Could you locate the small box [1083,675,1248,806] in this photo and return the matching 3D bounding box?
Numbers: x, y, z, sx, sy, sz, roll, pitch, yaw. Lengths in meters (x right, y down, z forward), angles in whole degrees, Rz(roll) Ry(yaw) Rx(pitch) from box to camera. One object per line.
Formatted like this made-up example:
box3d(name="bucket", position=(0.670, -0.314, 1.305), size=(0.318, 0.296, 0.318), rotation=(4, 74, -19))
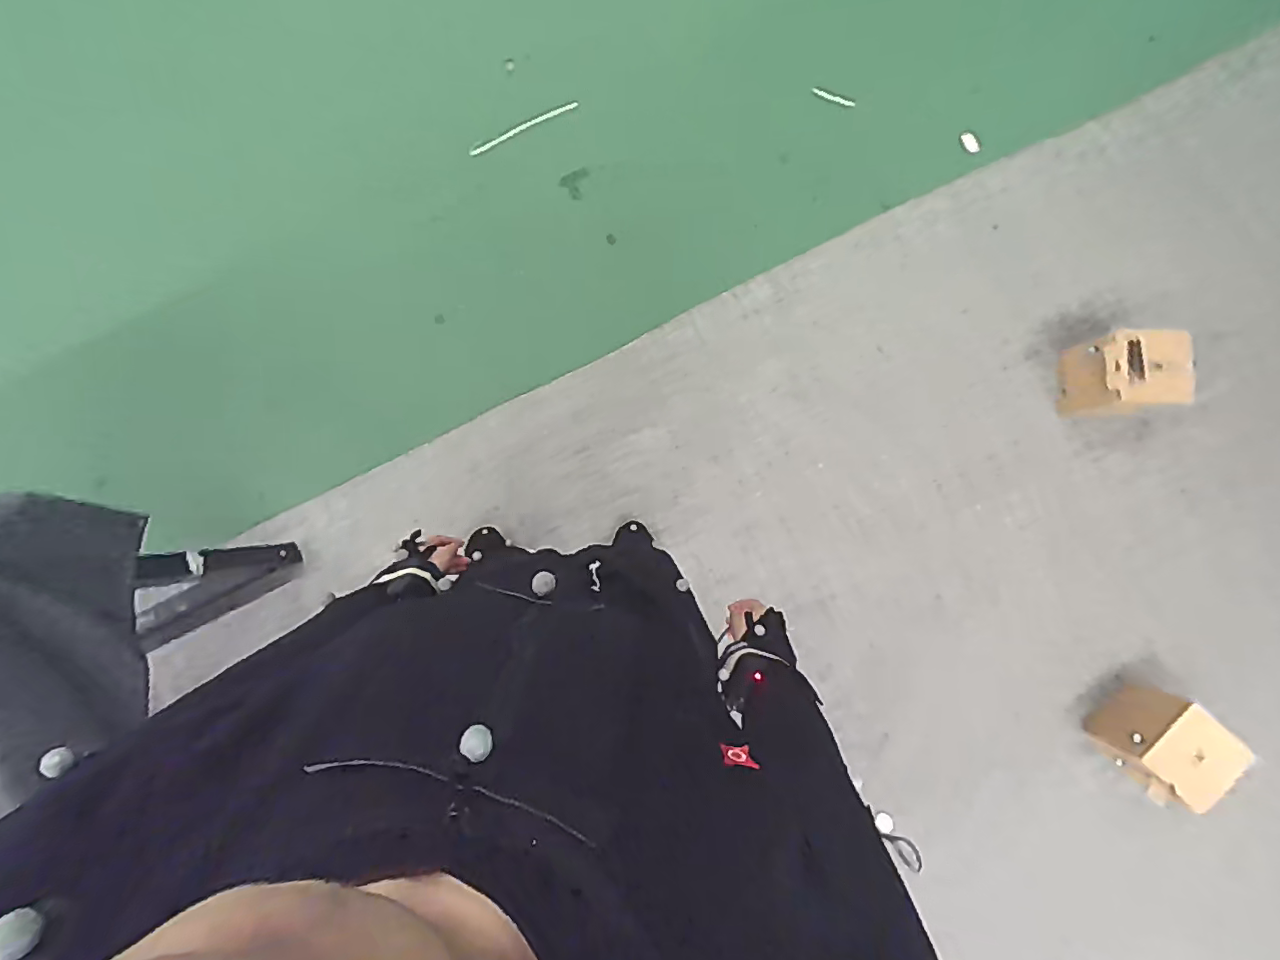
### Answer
box3d(name="small box", position=(1.174, 0.576, 1.226), size=(0.168, 0.176, 0.179), rotation=(43, 89, 4))
